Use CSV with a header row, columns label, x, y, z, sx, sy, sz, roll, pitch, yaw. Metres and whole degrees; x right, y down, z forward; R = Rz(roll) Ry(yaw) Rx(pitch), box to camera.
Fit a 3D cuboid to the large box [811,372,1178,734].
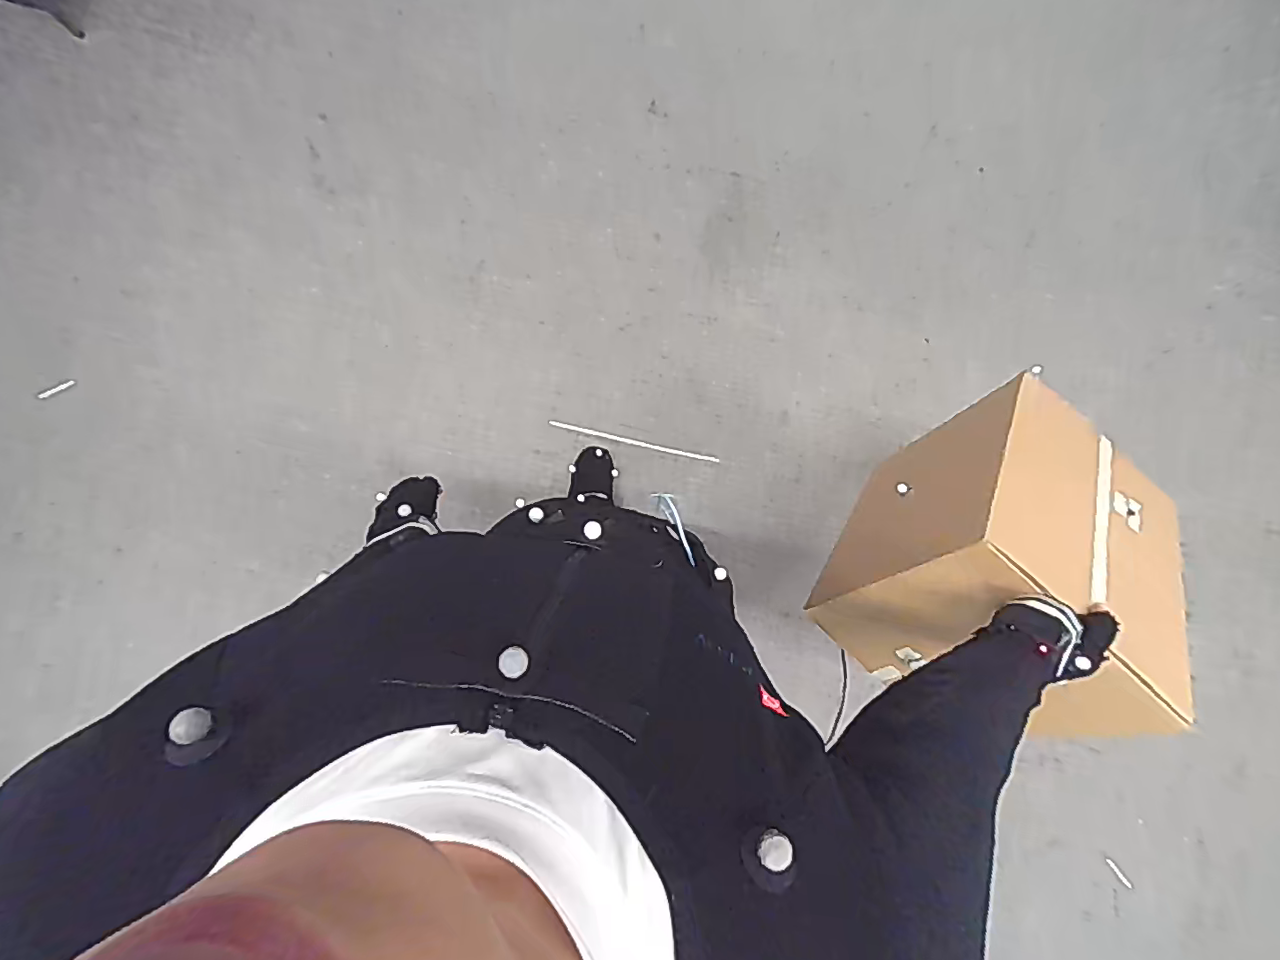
label,x,y,z,sx,sy,sz,roll,pitch,yaw
large box,0.534,0.116,0.842,0.320,0.320,0.408,43,53,-1
